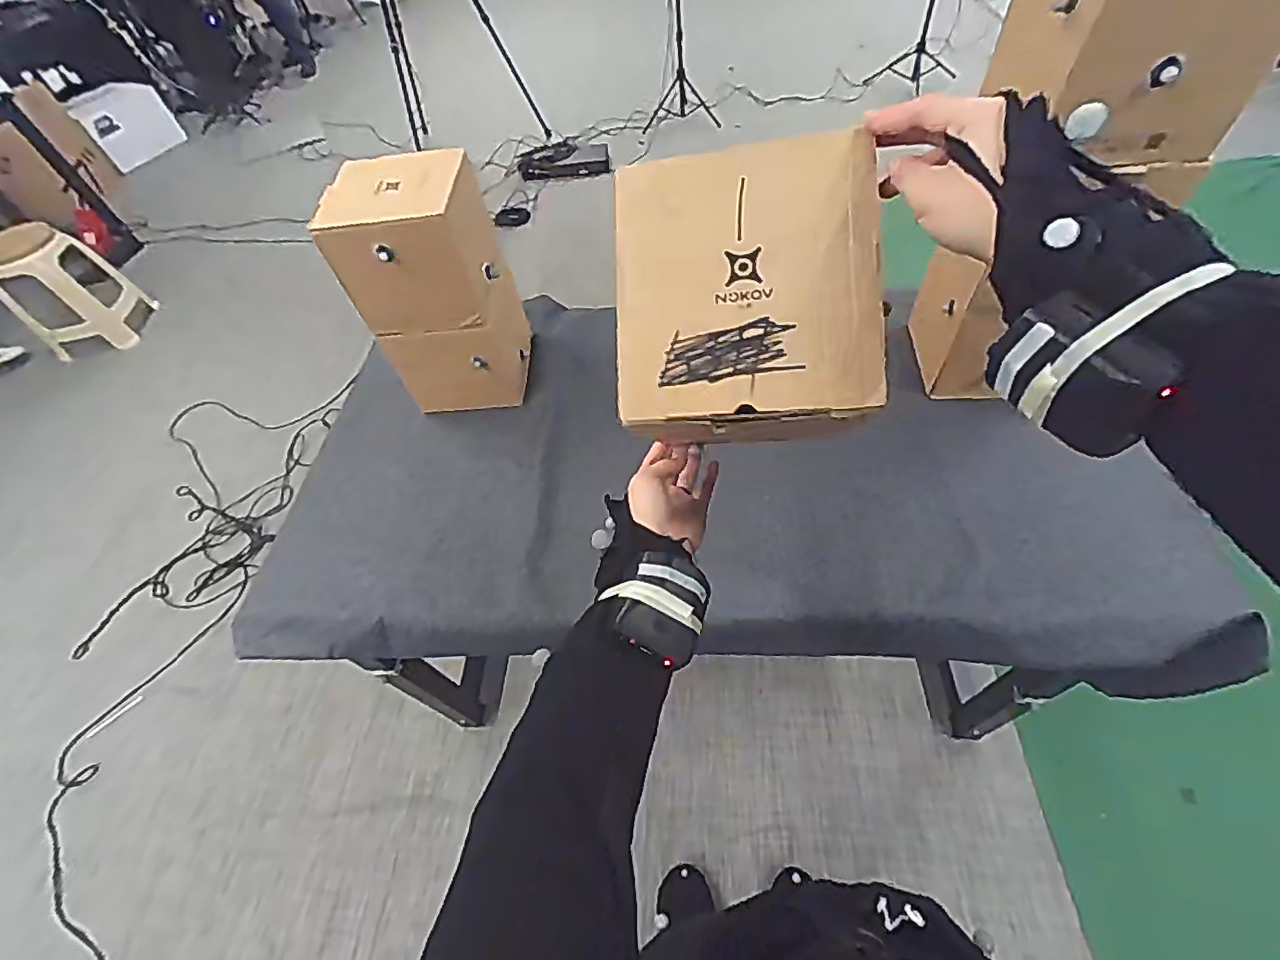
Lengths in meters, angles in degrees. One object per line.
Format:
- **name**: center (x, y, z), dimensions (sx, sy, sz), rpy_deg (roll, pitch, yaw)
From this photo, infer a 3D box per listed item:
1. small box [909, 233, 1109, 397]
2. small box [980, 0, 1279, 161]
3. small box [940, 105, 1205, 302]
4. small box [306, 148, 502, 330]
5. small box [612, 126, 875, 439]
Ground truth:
- **small box**: center (0.507, -0.240, 0.780), dimensions (0.168, 0.176, 0.179), rpy_deg (0, 56, 8)
- **small box**: center (0.459, -0.424, 0.511), dimensions (0.168, 0.176, 0.179), rpy_deg (0, 55, 7)
- **small box**: center (0.485, -0.329, 0.645), dimensions (0.168, 0.176, 0.179), rpy_deg (1, 57, 9)
- **small box**: center (-0.309, -0.327, 0.751), dimensions (0.179, 0.176, 0.168), rpy_deg (-4, 56, 3)
- **small box**: center (0.082, -0.124, 0.419), dimensions (0.168, 0.176, 0.179), rpy_deg (0, 87, 14)
